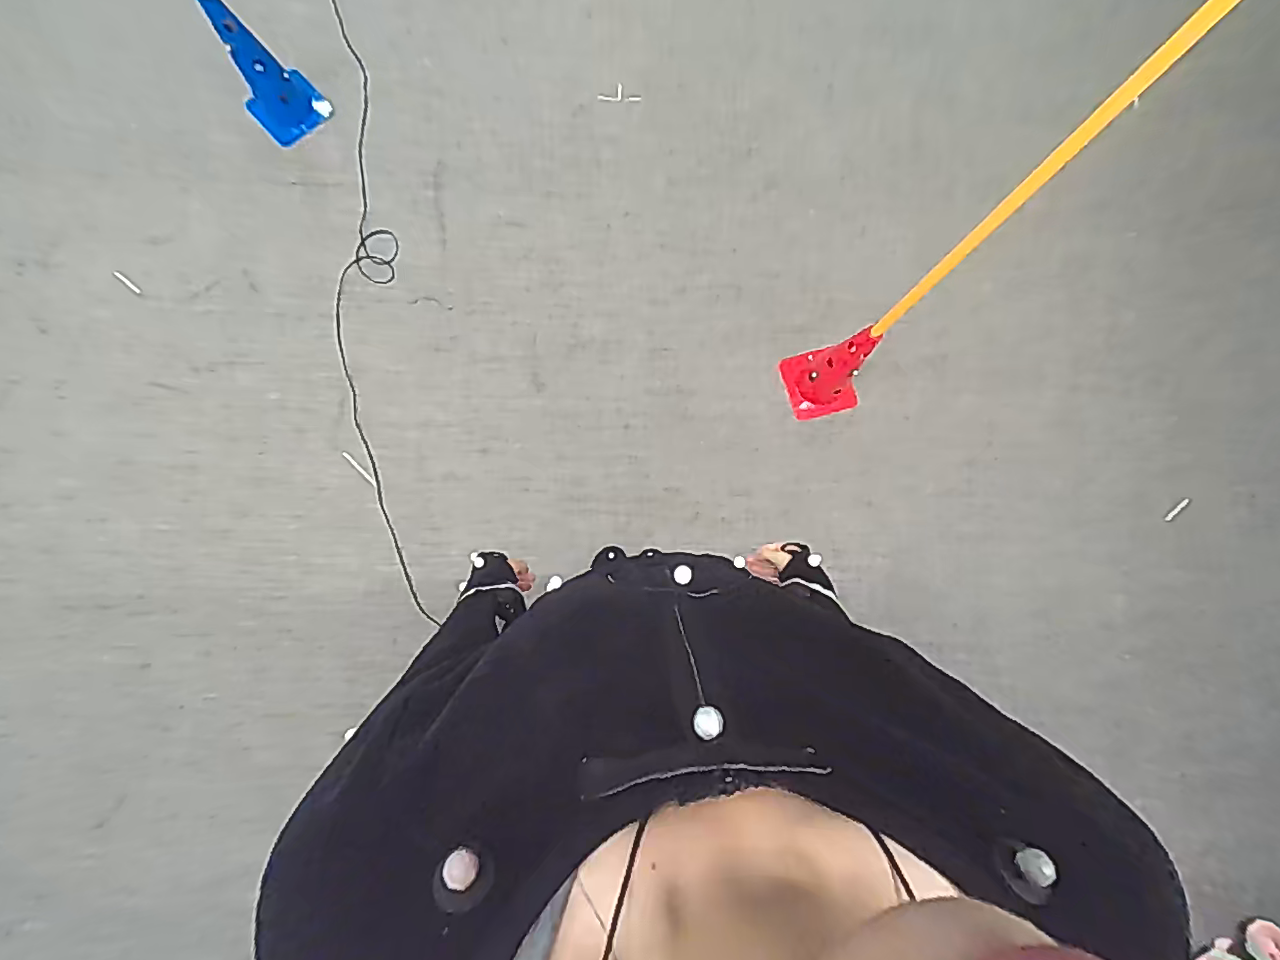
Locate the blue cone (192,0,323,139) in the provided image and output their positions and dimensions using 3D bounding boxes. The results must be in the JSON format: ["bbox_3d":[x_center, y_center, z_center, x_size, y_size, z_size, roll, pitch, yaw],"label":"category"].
[{"bbox_3d":[-1.071,-1.157,1.472,0.193,0.380,0.192,-45,87,-6],"label":"blue cone"}]
